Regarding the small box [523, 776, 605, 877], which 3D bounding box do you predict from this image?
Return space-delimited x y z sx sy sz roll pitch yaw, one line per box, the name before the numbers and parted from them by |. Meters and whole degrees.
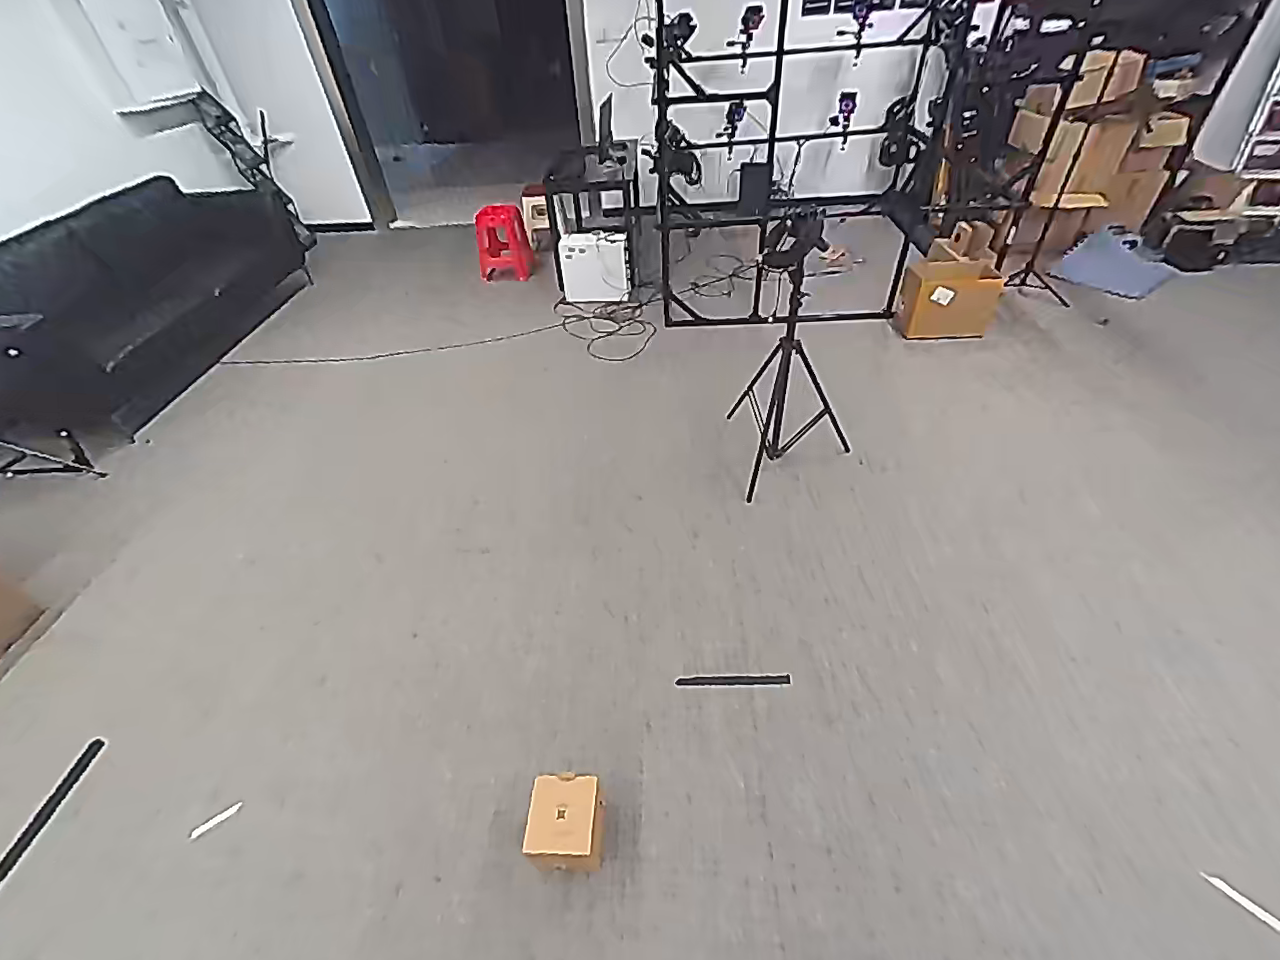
small box | -0.184 0.877 1.370 0.168 0.176 0.179 -2 42 5
